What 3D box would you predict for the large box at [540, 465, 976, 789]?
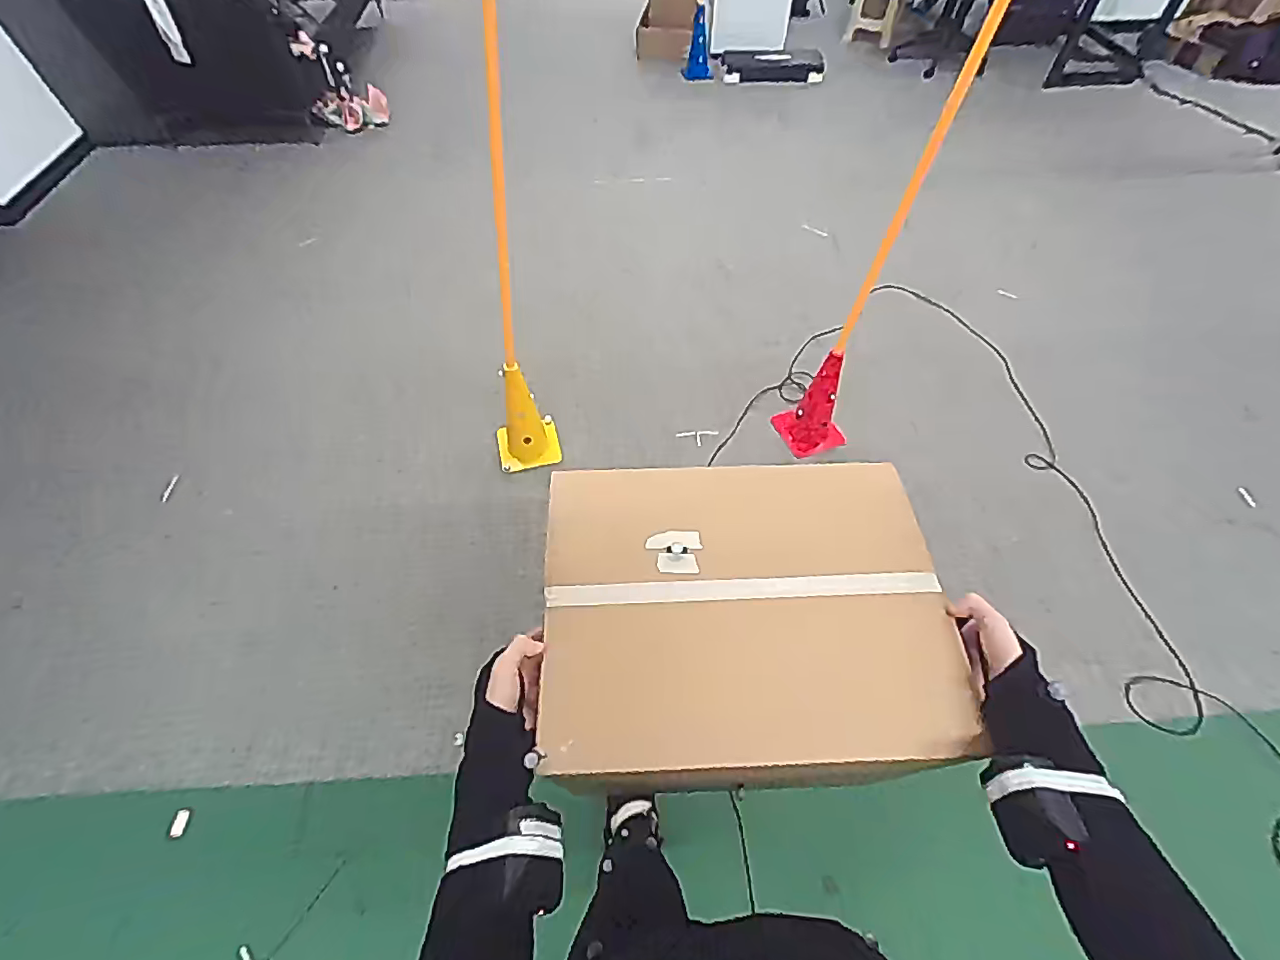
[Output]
[{"bbox_3d":[0.104,0.200,0.689,0.408,0.320,0.320,-2,56,-1],"label":"large box"}]
